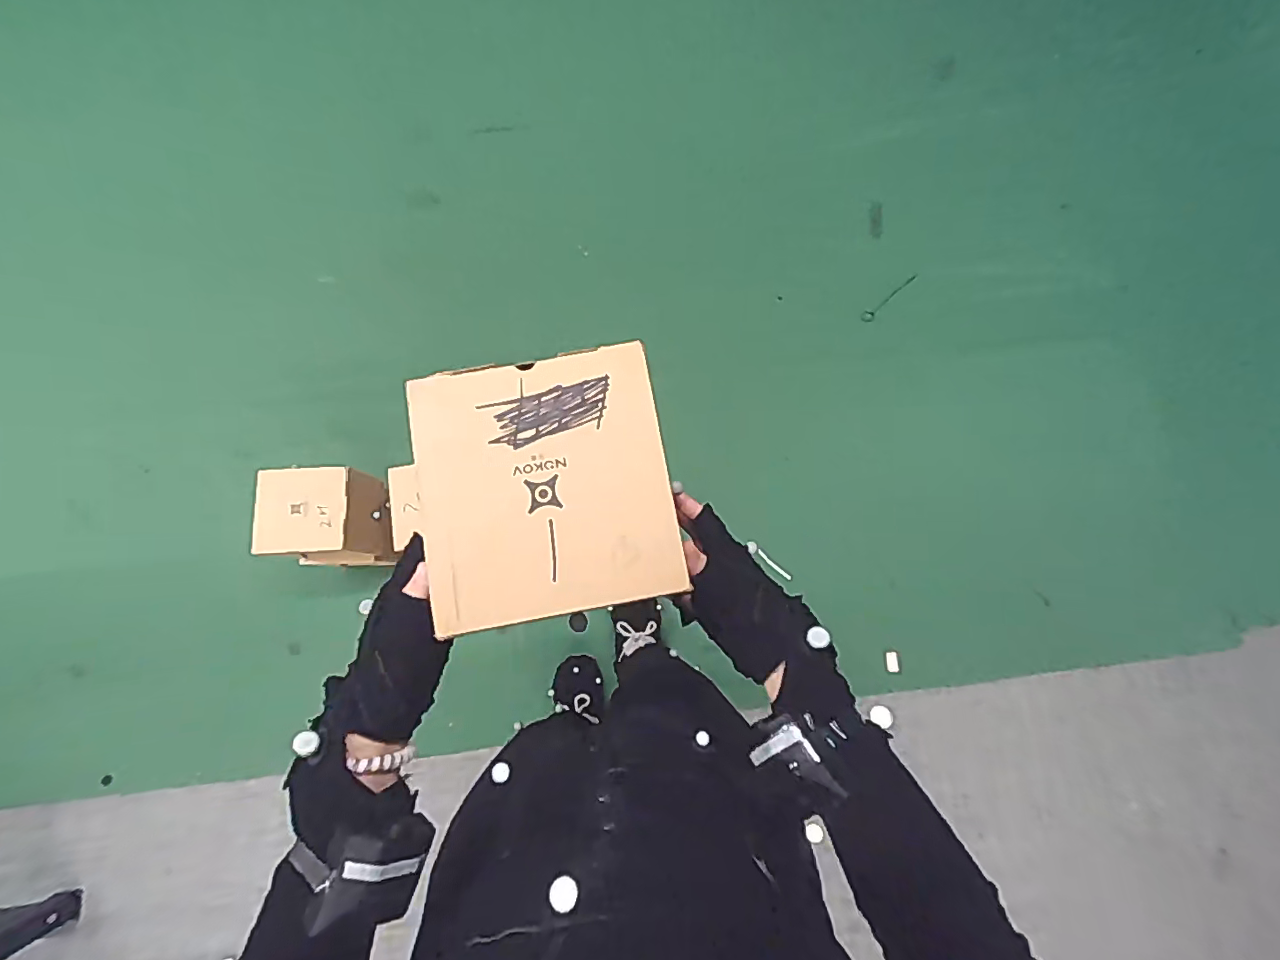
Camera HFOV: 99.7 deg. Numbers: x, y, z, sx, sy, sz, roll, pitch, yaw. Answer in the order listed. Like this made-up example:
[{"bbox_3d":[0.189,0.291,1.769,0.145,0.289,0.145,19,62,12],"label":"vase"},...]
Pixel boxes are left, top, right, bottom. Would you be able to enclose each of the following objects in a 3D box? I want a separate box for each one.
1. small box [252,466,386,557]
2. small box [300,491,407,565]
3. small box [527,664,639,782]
[{"bbox_3d":[-0.657,0.070,1.125,0.179,0.176,0.168,-2,79,-2],"label":"small box"},{"bbox_3d":[-0.670,0.113,1.284,0.168,0.176,0.179,-1,78,-2],"label":"small box"},{"bbox_3d":[-0.133,0.544,1.231,0.179,0.176,0.168,28,88,22],"label":"small box"}]
